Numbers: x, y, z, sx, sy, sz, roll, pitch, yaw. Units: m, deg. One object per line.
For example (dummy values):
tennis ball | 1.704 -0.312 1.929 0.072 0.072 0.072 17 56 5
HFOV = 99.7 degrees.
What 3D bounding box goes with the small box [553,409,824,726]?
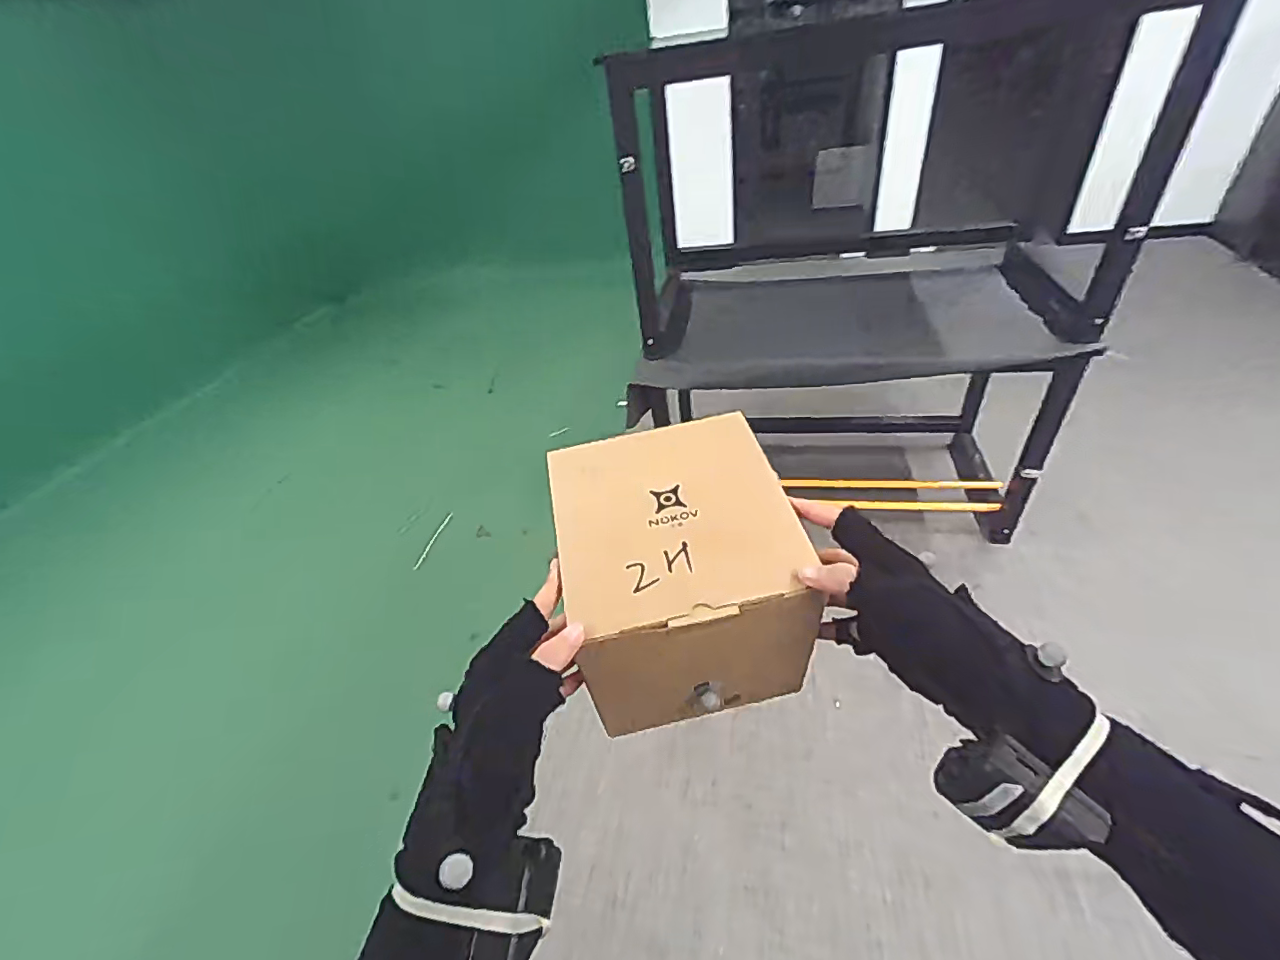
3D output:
small box | 0.029 0.070 0.444 0.168 0.176 0.179 -12 45 -2
